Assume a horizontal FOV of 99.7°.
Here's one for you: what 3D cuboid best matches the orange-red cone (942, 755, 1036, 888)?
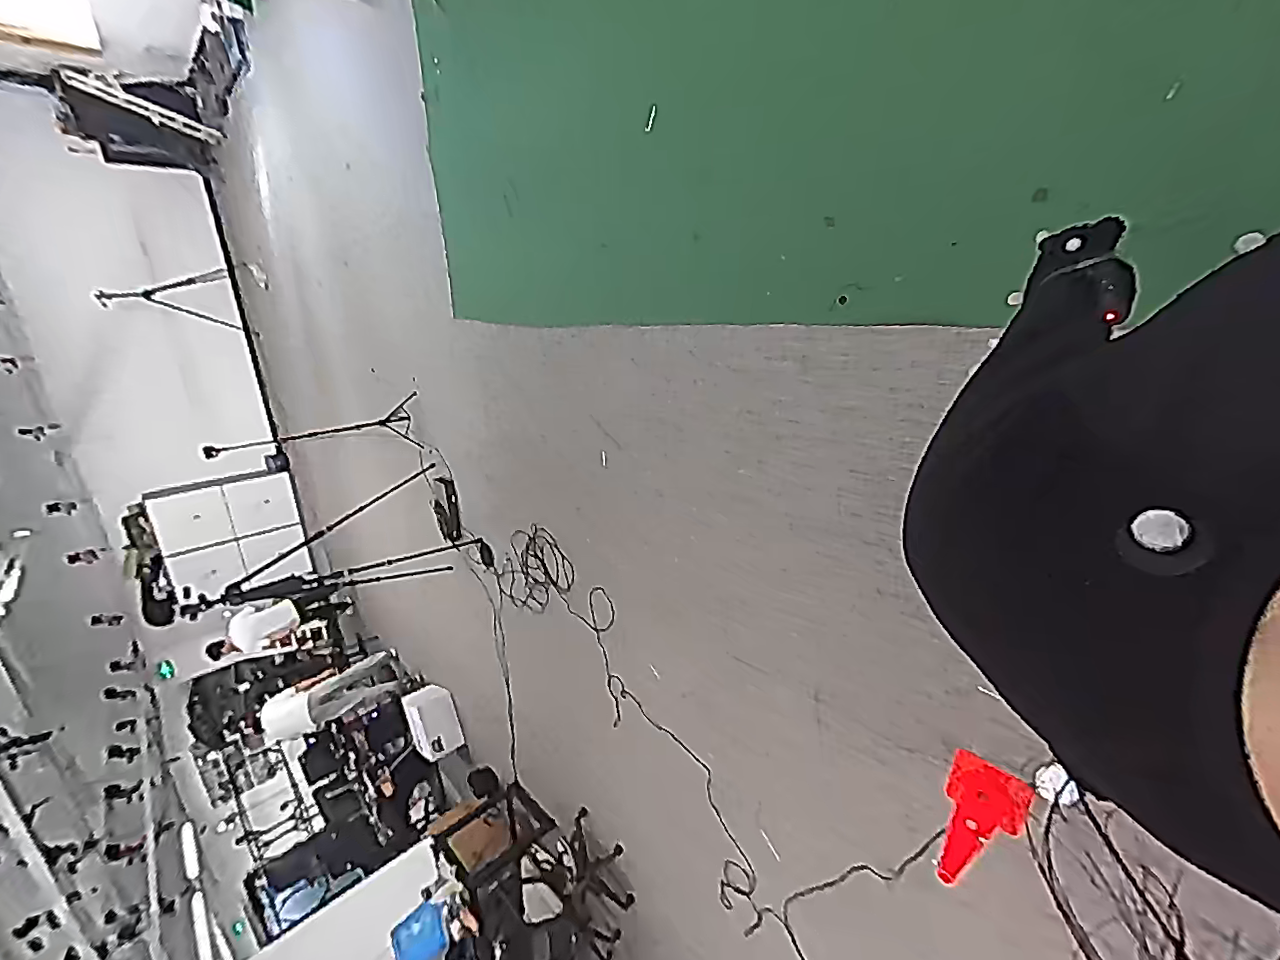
[{"bbox_3d":[0.902,0.963,1.471,0.198,0.360,0.199,22,118,41],"label":"orange-red cone"}]
